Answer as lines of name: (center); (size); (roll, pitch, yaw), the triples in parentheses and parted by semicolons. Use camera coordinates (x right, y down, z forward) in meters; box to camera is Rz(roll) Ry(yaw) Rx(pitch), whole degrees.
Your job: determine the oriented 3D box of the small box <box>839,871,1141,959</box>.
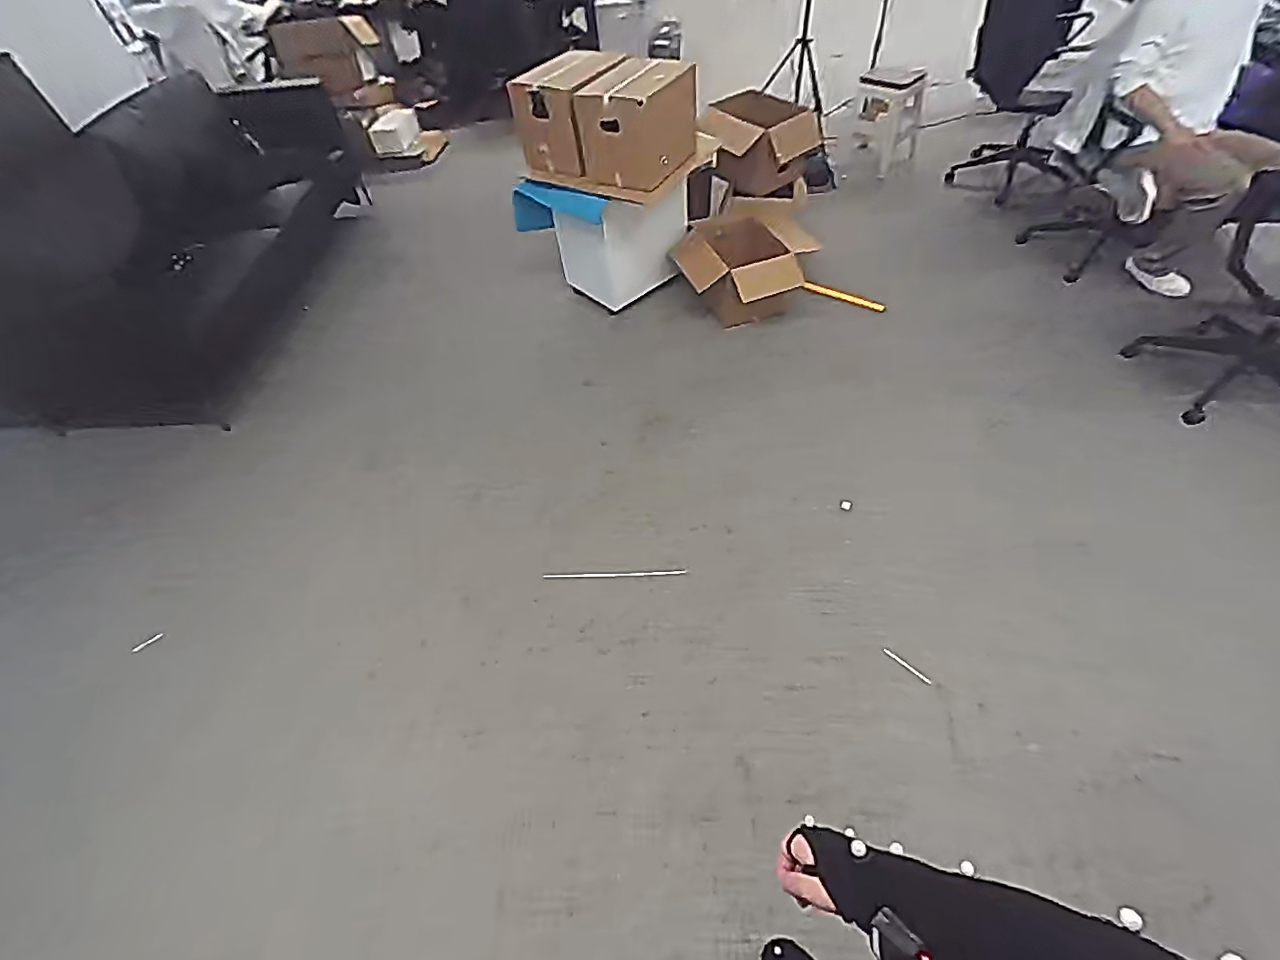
small box: (0.275, 0.420, 0.387); (0.179, 0.176, 0.168); (-24, 61, -3)
